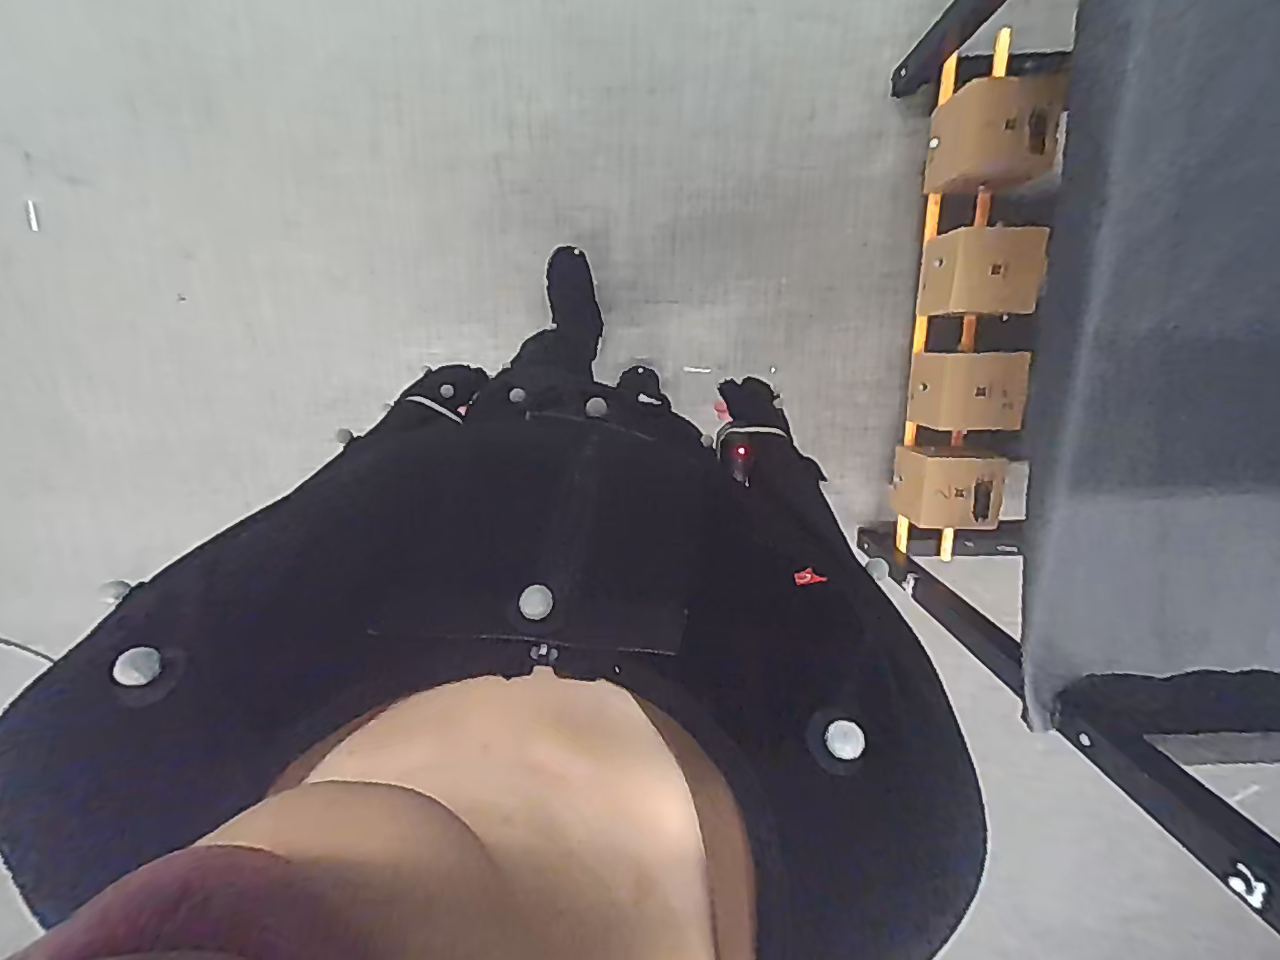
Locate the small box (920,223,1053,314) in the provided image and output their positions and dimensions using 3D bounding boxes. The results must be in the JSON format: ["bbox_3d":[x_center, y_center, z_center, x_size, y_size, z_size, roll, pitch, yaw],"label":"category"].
[{"bbox_3d":[0.737,-0.451,1.172,0.179,0.176,0.168,1,104,2],"label":"small box"}]

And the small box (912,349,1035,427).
[{"bbox_3d":[0.744,-0.212,1.227,0.179,0.176,0.168,0,104,2],"label":"small box"}]
